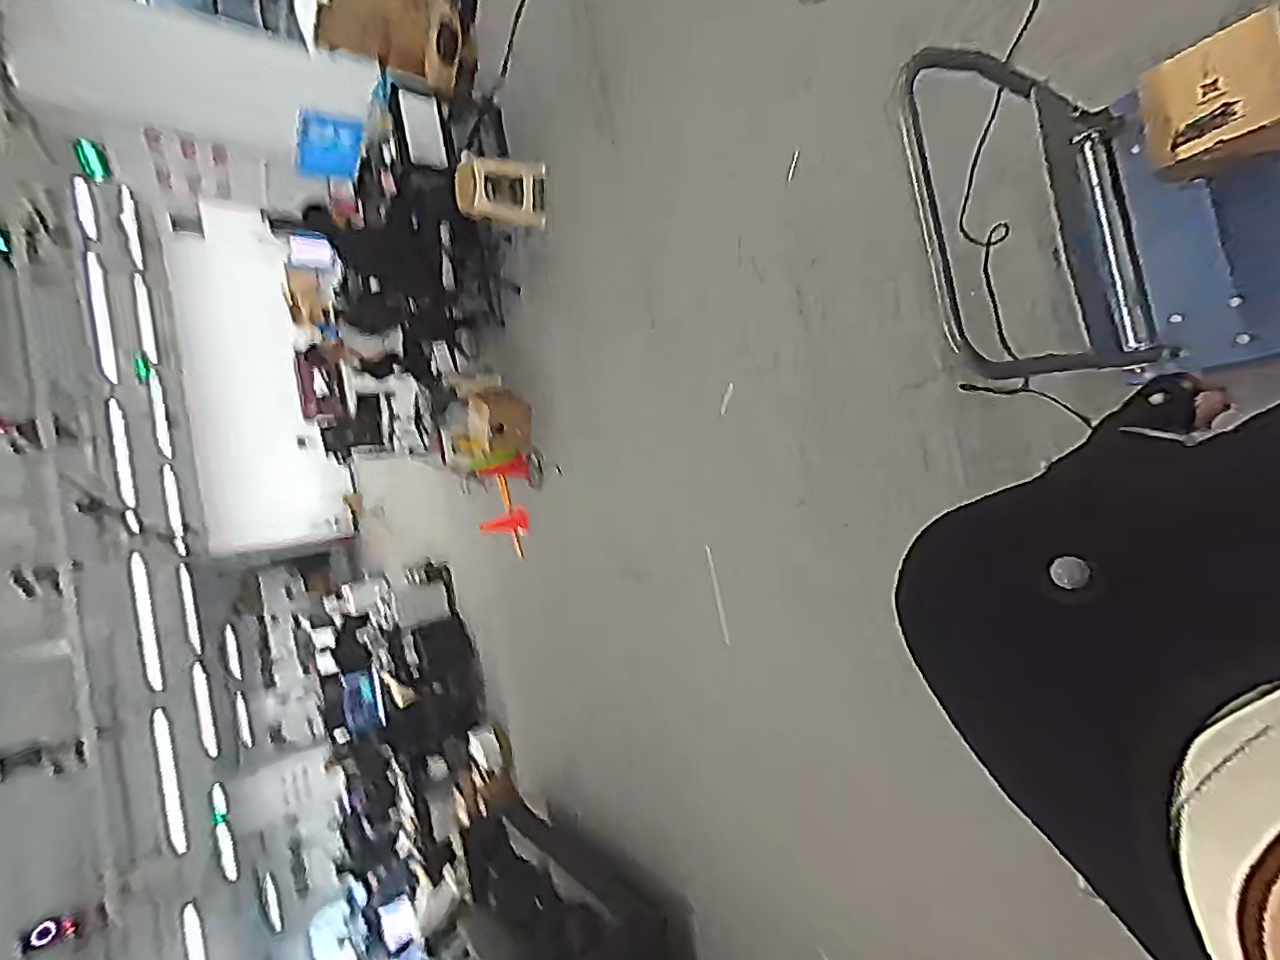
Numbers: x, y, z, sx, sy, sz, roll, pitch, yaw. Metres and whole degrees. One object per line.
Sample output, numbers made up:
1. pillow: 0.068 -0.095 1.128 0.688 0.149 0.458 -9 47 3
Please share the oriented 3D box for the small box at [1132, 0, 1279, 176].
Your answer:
1. small box: 0.992 -0.654 0.932 0.168 0.176 0.179 -10 89 54
